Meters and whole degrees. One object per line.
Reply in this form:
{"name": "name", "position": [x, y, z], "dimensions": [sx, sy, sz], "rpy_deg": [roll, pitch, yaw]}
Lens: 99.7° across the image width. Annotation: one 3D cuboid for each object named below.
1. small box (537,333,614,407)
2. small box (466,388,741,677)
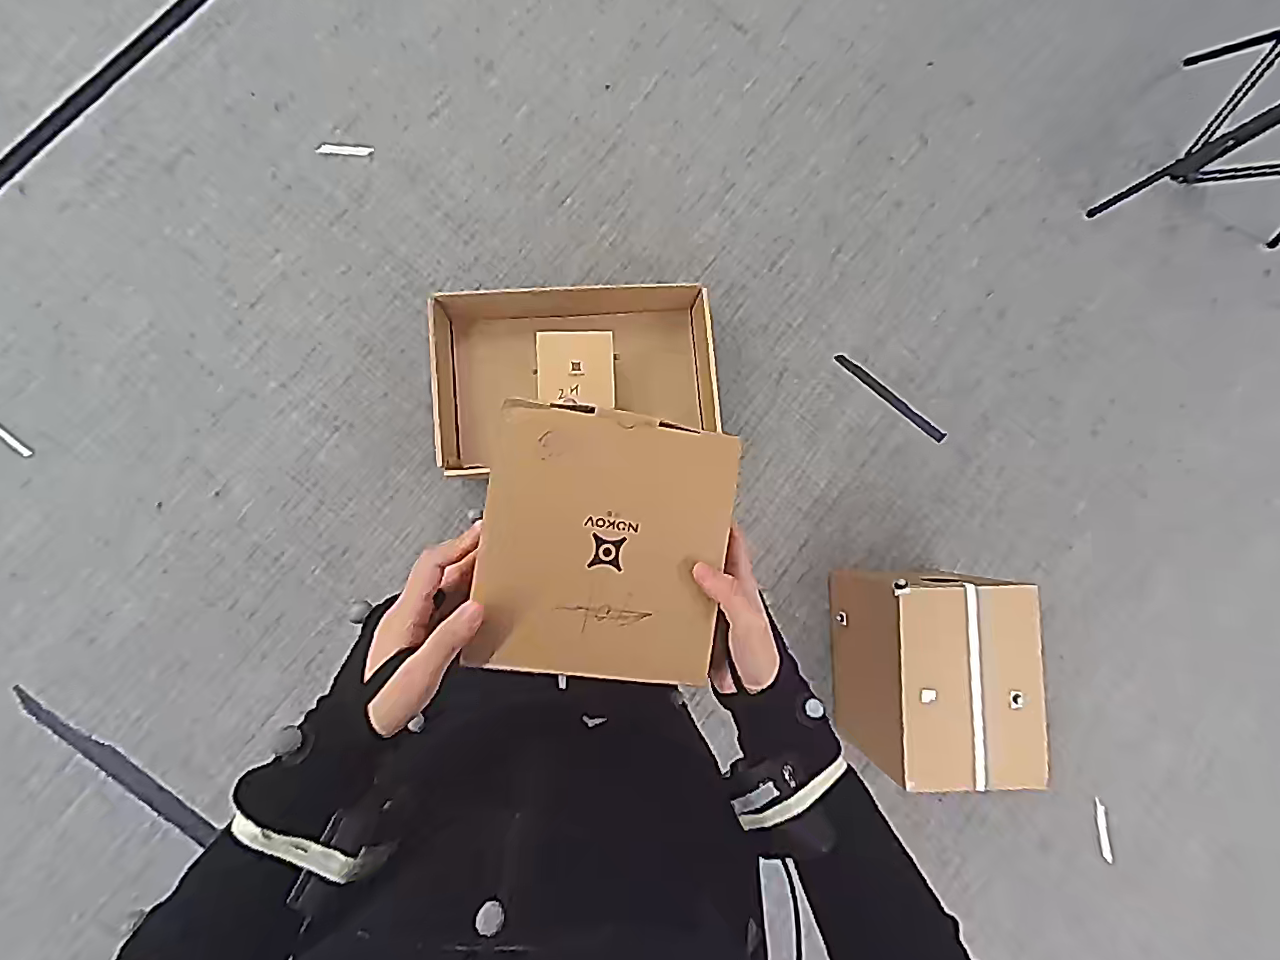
{"name": "small box", "position": [-0.146, -0.224, 1.236], "dimensions": [0.168, 0.176, 0.179], "rpy_deg": [-2, 85, -5]}
{"name": "small box", "position": [-0.036, 0.038, 0.440], "dimensions": [0.168, 0.176, 0.179], "rpy_deg": [9, 89, -11]}
